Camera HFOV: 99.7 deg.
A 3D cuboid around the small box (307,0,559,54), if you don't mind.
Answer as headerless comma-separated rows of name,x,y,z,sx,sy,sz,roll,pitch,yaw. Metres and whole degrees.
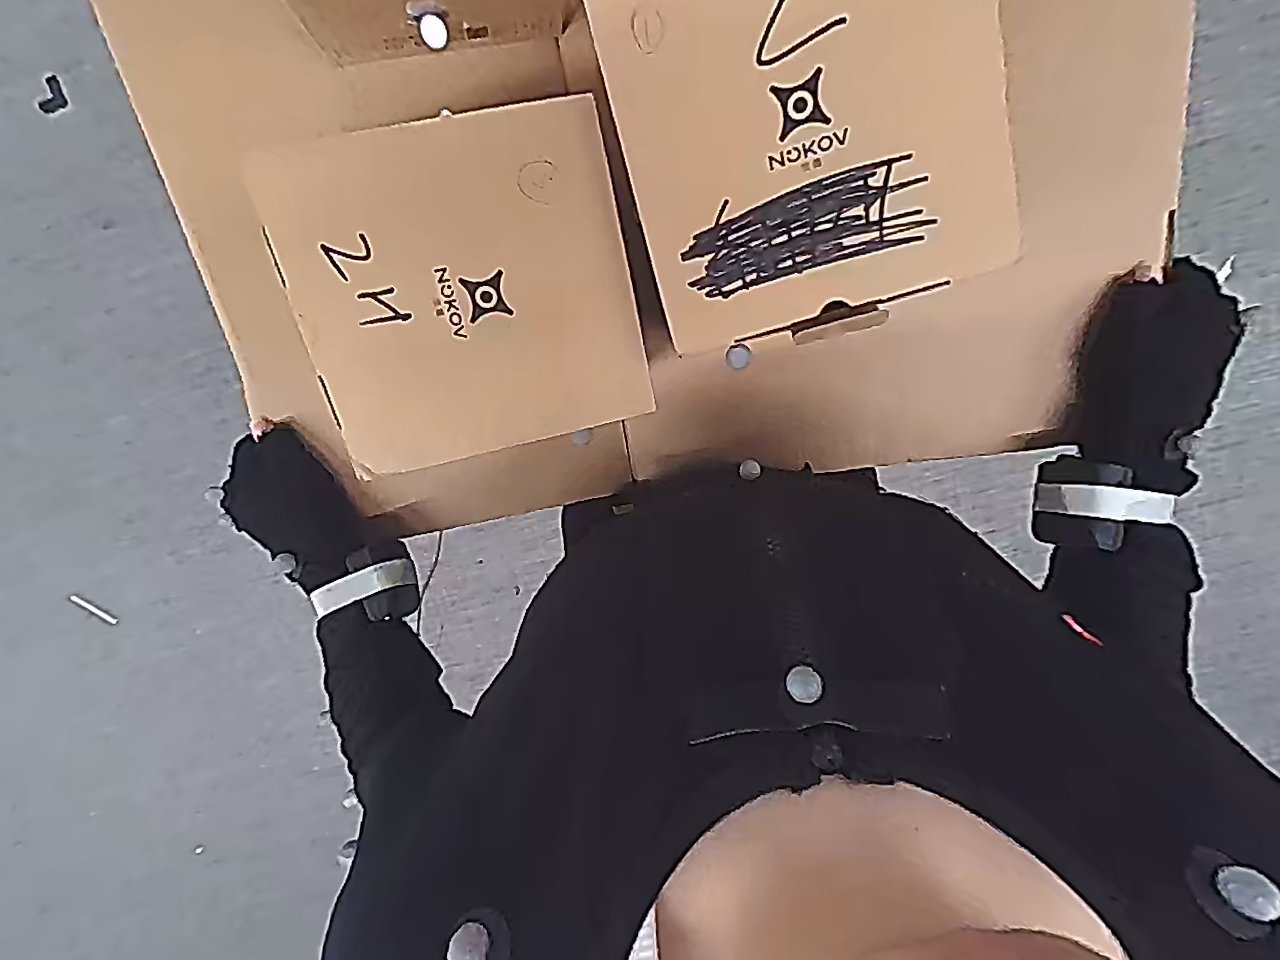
small box,-0.137,-0.374,0.286,0.168,0.176,0.179,-13,108,-7
